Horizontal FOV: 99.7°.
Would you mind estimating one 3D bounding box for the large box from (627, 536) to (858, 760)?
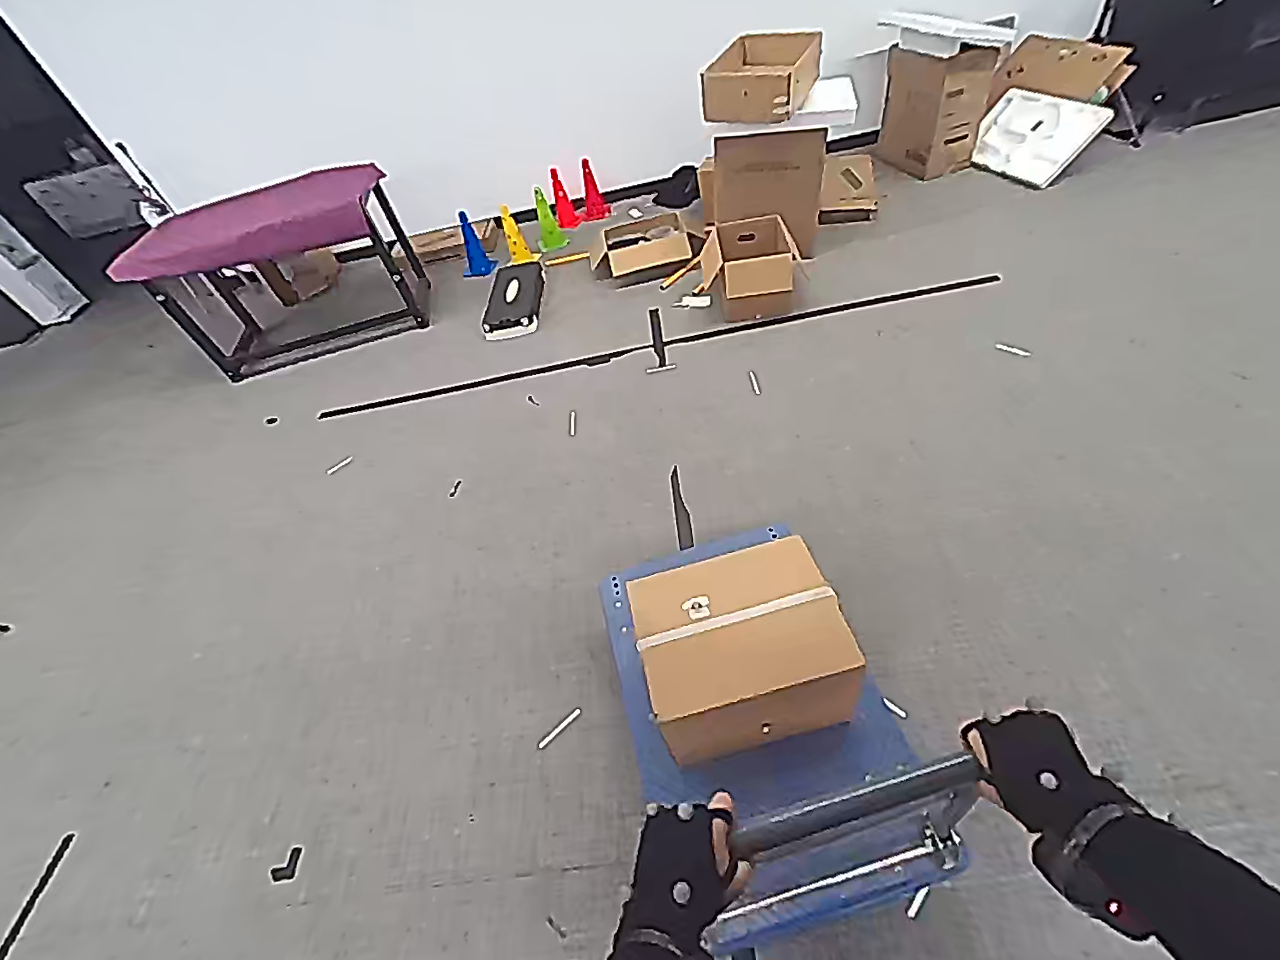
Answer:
[{"bbox_3d":[0.221,0.384,1.221,0.408,0.320,0.320,-16,46,0],"label":"large box"}]
